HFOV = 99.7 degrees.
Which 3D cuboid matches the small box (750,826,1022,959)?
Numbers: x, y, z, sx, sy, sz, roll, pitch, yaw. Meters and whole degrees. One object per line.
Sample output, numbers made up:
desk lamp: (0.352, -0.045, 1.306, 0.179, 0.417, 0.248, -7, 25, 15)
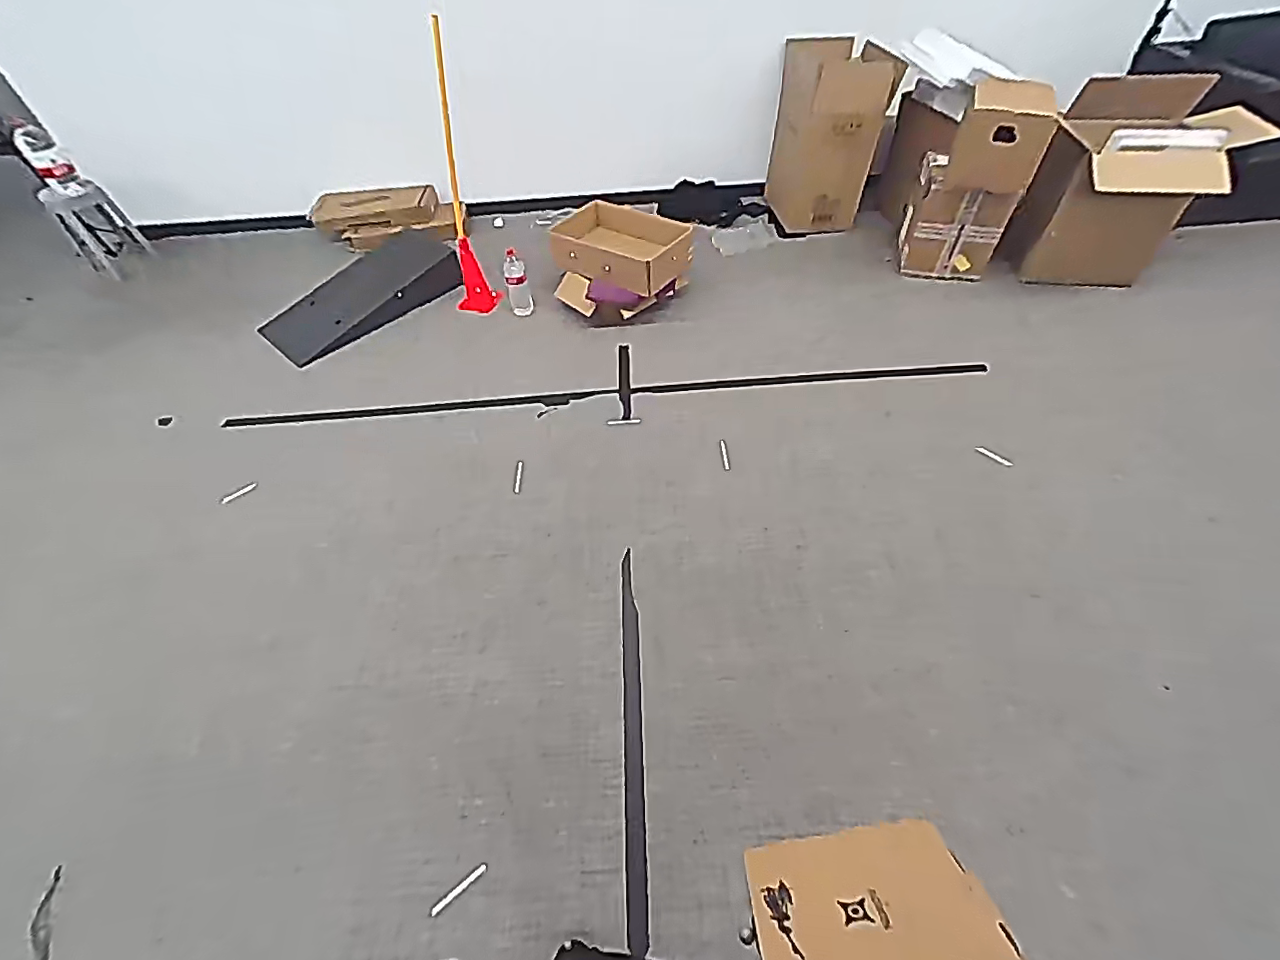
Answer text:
small box: (0.198, 0.423, 0.433, 0.179, 0.168, 0.176, -11, 92, 4)
